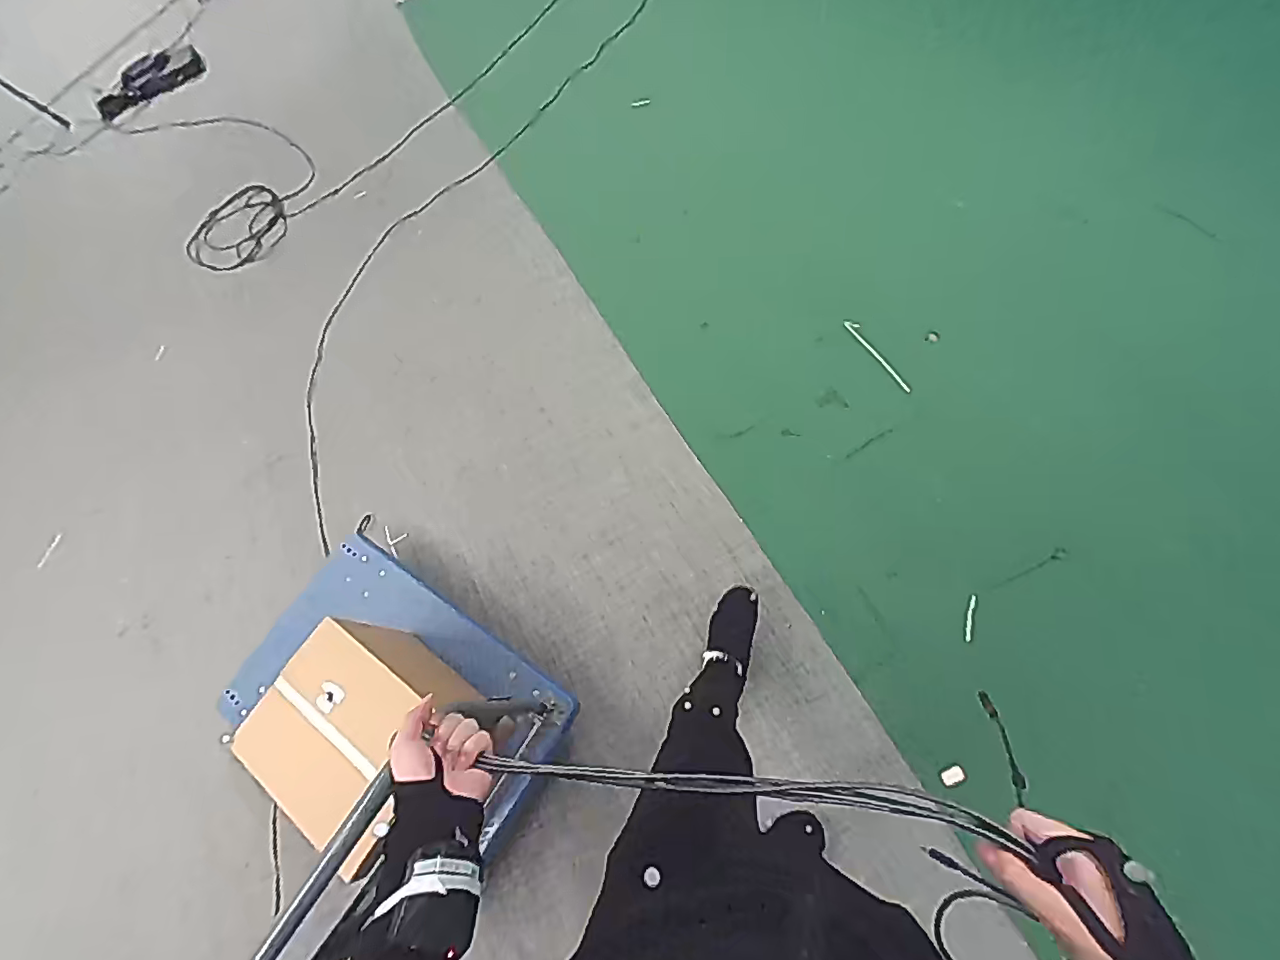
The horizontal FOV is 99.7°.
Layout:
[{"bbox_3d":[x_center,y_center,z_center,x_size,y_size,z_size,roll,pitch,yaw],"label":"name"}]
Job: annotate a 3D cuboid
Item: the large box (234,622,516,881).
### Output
[{"bbox_3d":[-0.562,0.572,1.206,0.408,0.320,0.320,29,75,22],"label":"large box"}]
